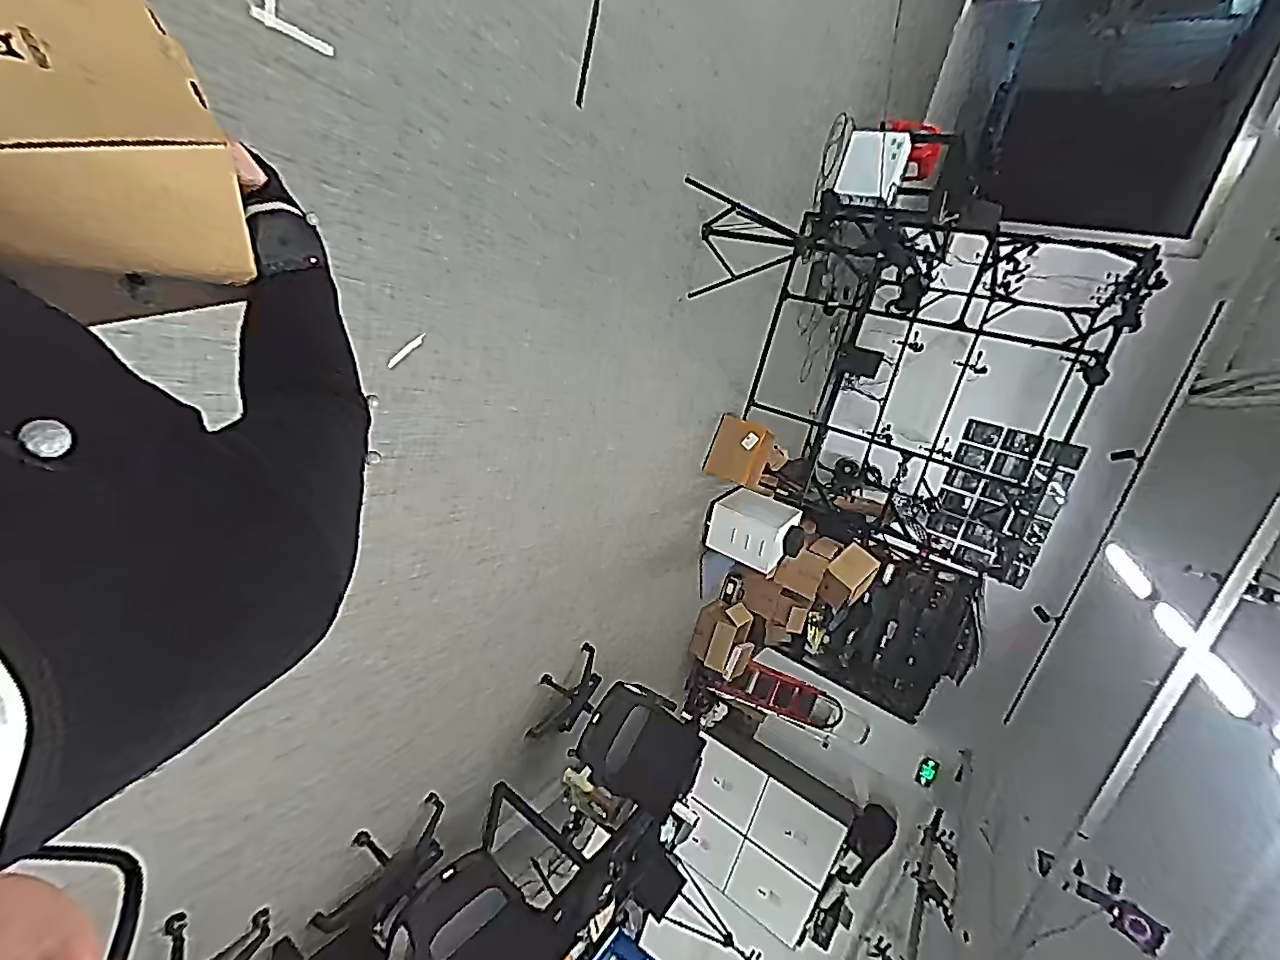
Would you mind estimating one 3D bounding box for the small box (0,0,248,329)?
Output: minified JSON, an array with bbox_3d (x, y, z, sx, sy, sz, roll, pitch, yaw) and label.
[{"bbox_3d":[-0.444,-0.248,0.431,0.179,0.168,0.176,-27,170,-35],"label":"small box"}]
